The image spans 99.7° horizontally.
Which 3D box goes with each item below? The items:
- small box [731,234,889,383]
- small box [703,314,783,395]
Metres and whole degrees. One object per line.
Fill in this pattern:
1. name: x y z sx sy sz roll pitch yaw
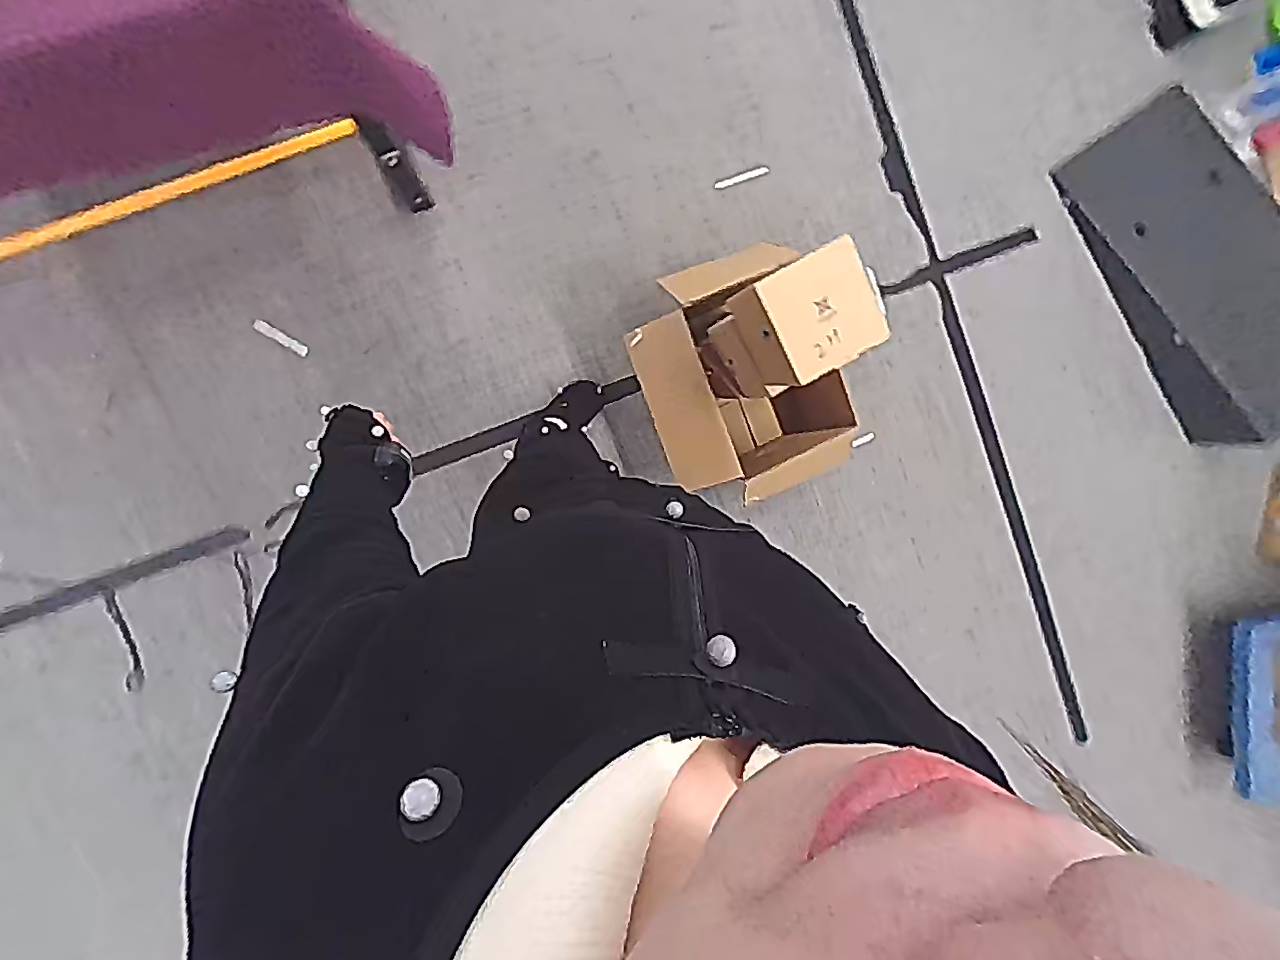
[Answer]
1. small box: 0.275 -0.275 0.913 0.168 0.176 0.179 -28 101 0
2. small box: 0.270 -0.309 1.242 0.168 0.176 0.179 -42 102 1
